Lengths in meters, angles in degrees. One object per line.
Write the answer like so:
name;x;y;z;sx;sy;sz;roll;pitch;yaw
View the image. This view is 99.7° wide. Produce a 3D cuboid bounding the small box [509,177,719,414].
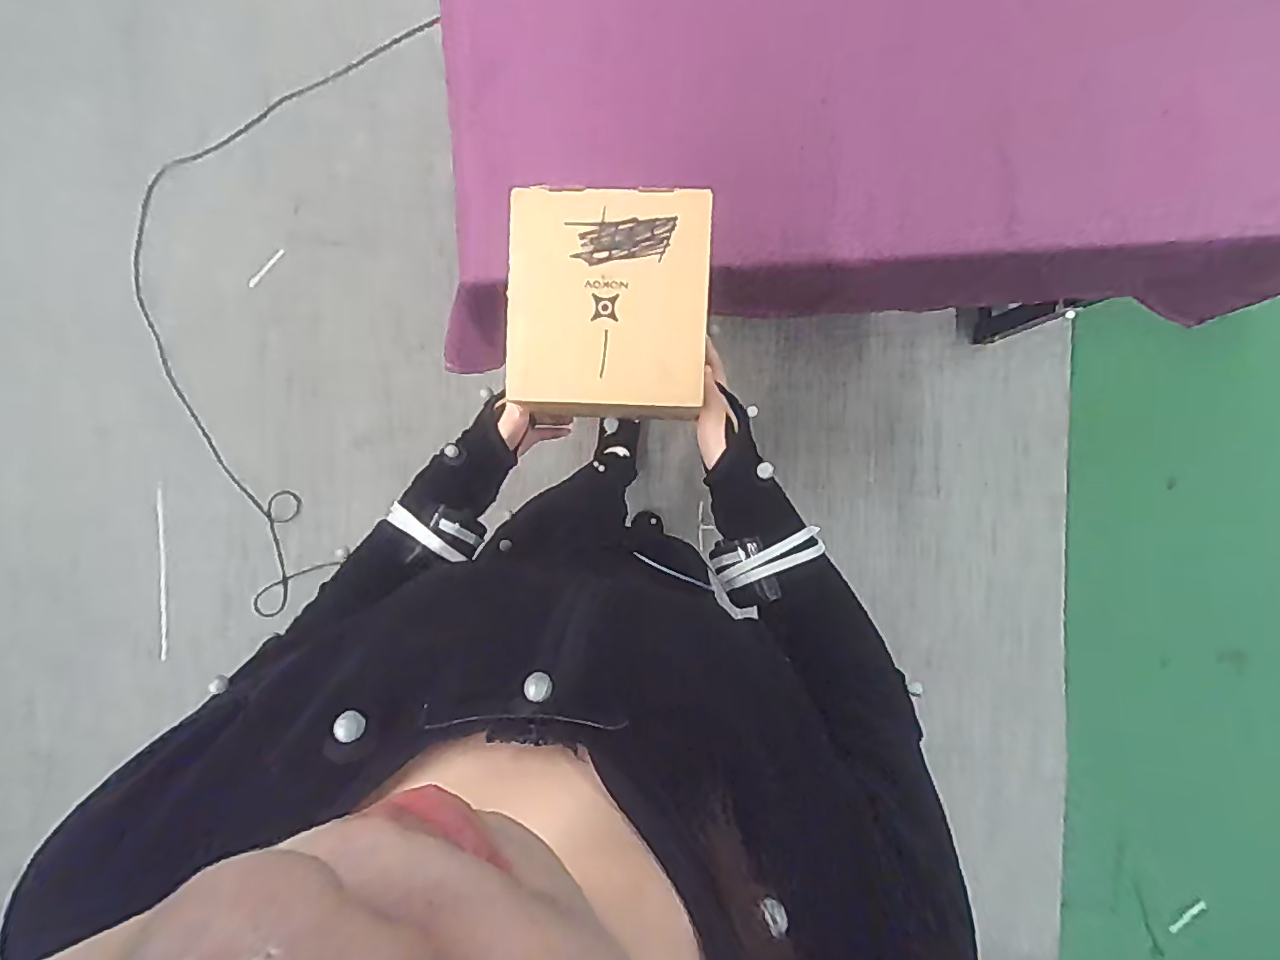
small box;-0.019;-0.162;0.524;0.168;0.176;0.179;3;94;4
